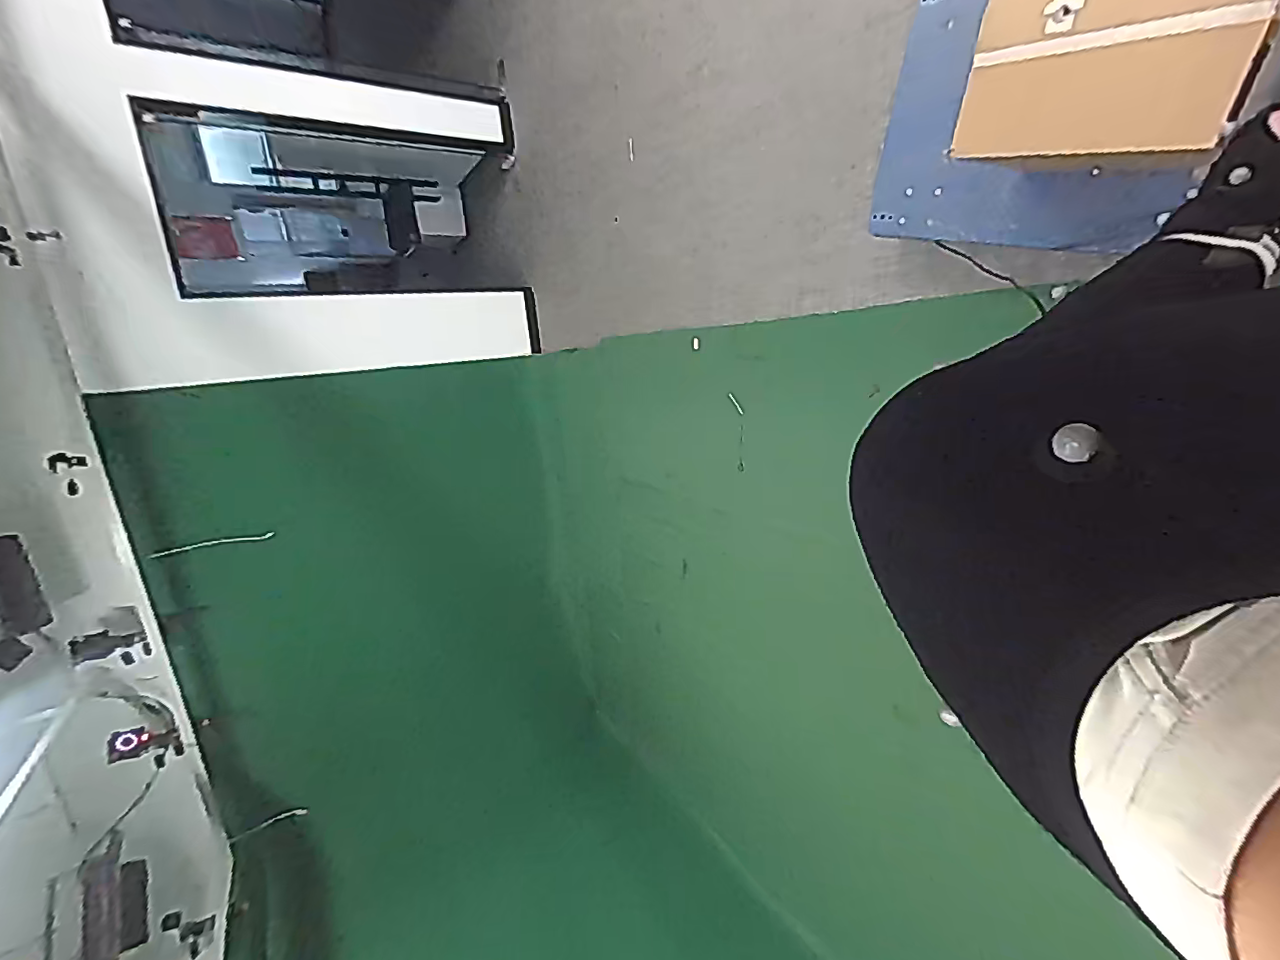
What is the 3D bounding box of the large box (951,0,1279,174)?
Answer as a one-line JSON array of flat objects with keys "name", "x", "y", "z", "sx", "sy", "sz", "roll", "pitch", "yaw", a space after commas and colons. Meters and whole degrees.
[{"name": "large box", "x": 0.856, "y": -0.721, "z": 0.933, "sx": 0.408, "sy": 0.320, "sz": 0.320, "roll": 37, "pitch": 130, "yaw": 48}]
